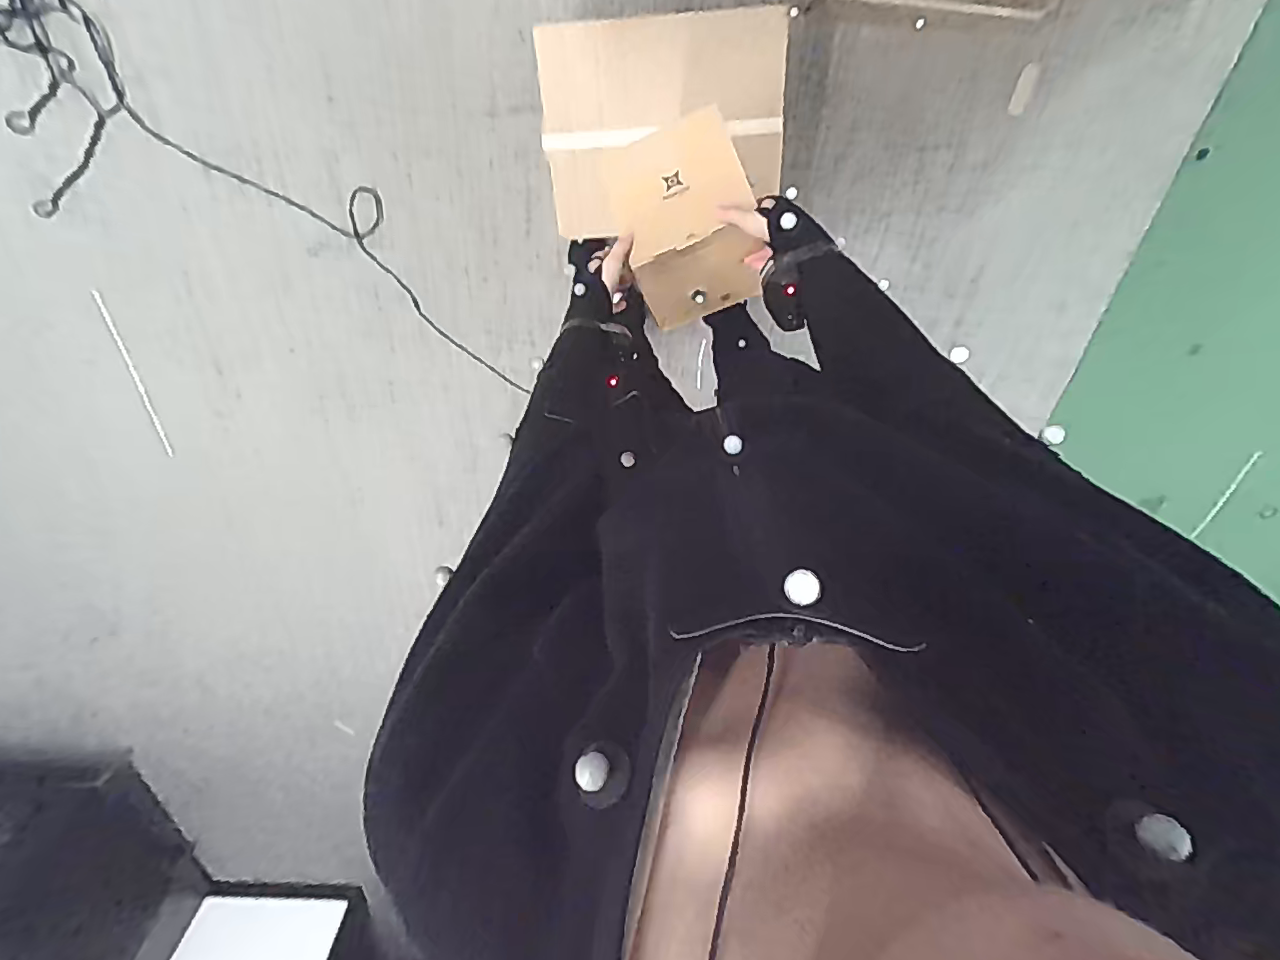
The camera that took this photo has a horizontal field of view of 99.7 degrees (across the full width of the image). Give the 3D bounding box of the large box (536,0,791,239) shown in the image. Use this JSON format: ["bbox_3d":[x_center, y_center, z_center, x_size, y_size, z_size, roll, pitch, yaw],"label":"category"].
[{"bbox_3d":[0.043,-0.662,1.036,0.408,0.320,0.320,-3,121,2],"label":"large box"}]

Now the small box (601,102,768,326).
[{"bbox_3d":[0.066,-0.341,0.724,0.168,0.179,0.176,-19,164,12],"label":"small box"}]
